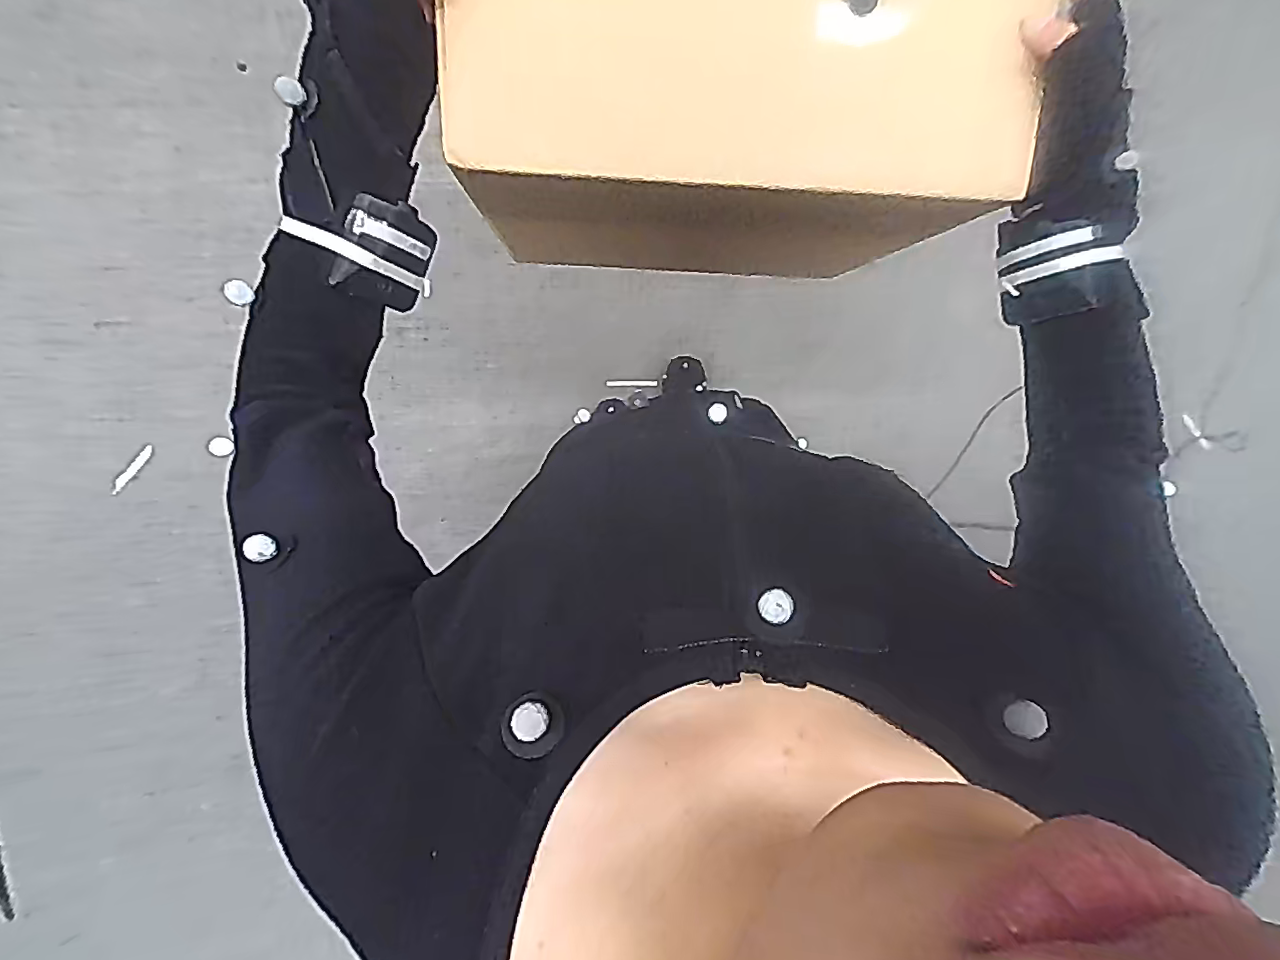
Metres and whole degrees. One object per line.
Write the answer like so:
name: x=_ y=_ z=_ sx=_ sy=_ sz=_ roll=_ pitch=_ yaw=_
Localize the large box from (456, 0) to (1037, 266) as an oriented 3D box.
large box: x=0.063 y=-0.392 z=0.499 sx=0.408 sy=0.320 sz=0.320 roll=0 pitch=101 yaw=-5
